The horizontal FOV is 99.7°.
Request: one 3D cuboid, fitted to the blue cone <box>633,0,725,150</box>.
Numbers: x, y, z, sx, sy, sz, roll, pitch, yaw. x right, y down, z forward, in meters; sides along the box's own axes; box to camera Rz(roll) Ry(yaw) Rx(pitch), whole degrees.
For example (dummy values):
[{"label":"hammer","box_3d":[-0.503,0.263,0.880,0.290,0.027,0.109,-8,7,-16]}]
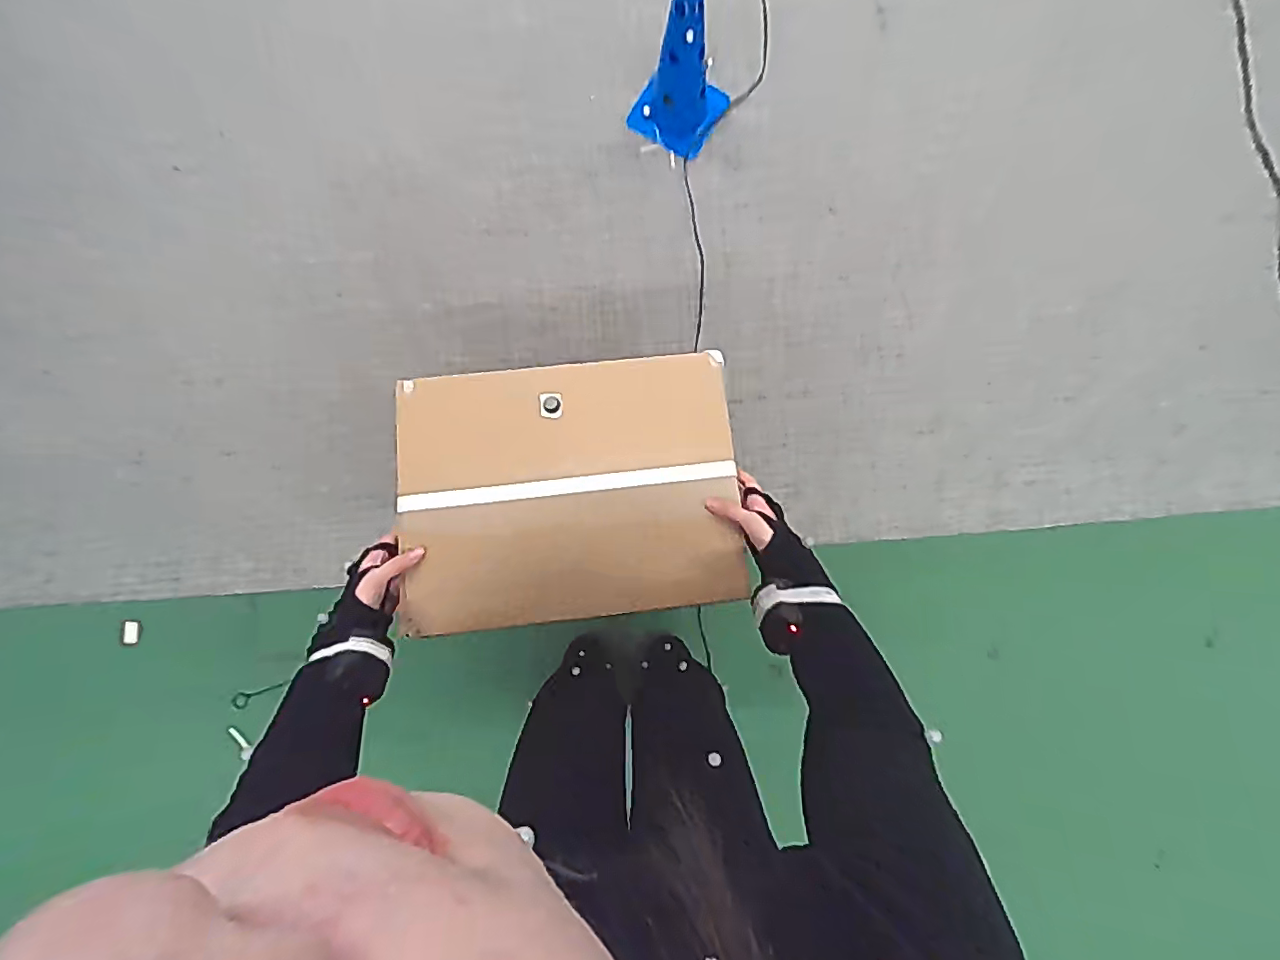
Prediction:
[{"label":"blue cone","box_3d":[0.096,-0.920,1.148,0.192,0.380,0.193,28,87,3]}]
